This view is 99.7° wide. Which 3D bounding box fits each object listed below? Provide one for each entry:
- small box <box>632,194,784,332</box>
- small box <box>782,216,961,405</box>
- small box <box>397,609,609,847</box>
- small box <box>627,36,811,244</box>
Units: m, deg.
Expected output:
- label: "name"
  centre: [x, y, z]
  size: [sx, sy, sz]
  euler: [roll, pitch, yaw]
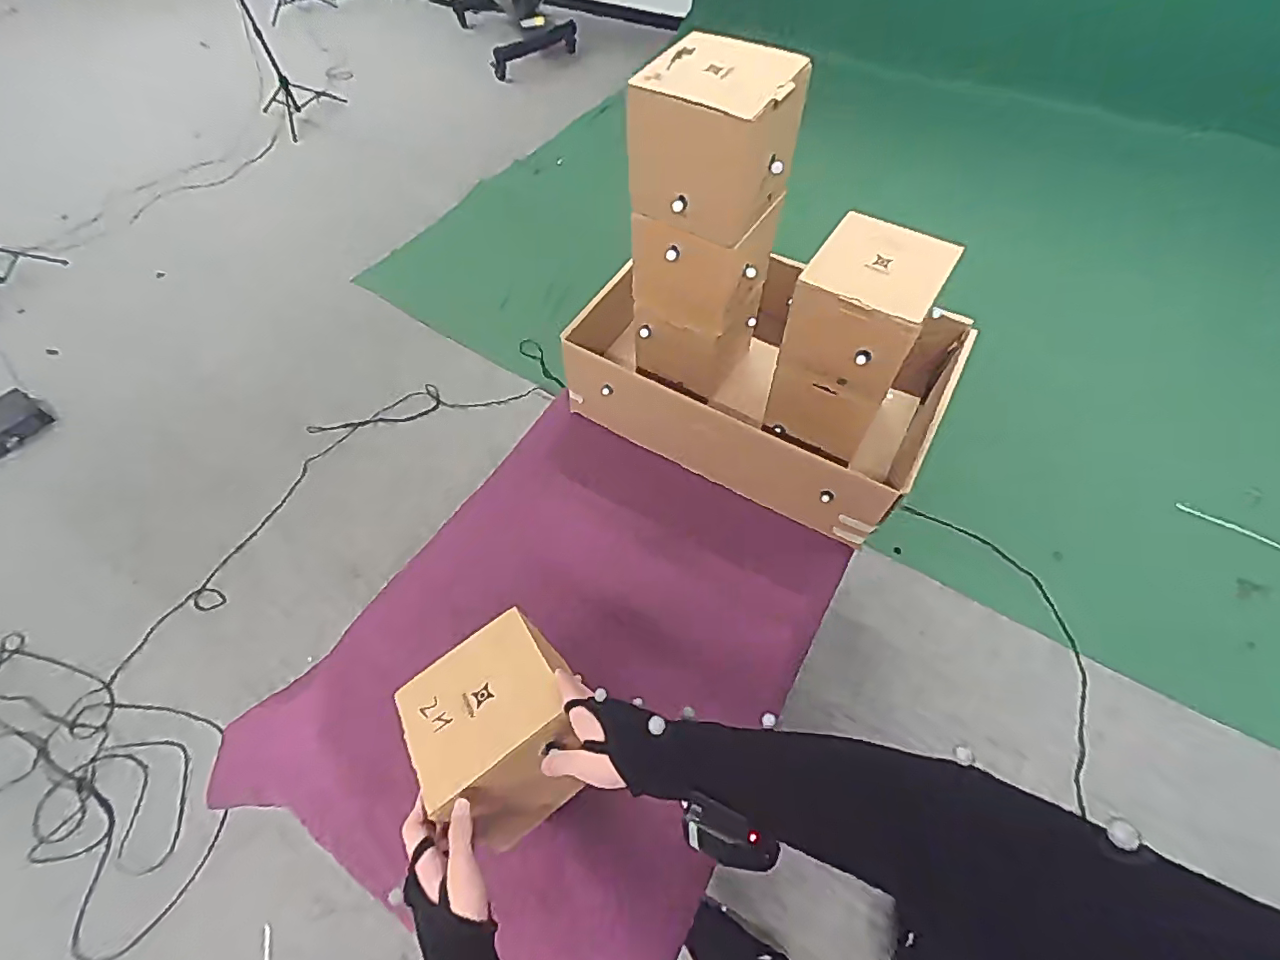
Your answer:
- label: "small box"
  centre: [0.104, -0.369, 0.878]
  size: [0.179, 0.176, 0.168]
  euler: [30, 64, 17]
- label: "small box"
  centre: [0.324, -0.241, 0.791]
  size: [0.168, 0.176, 0.179]
  euler: [30, 65, 18]
- label: "small box"
  centre: [-0.156, 0.300, 0.658]
  size: [0.179, 0.176, 0.168]
  euler: [-35, 44, -13]
- label: "small box"
  centre: [0.100, -0.455, 0.738]
  size: [0.179, 0.176, 0.168]
  euler: [30, 64, 17]
